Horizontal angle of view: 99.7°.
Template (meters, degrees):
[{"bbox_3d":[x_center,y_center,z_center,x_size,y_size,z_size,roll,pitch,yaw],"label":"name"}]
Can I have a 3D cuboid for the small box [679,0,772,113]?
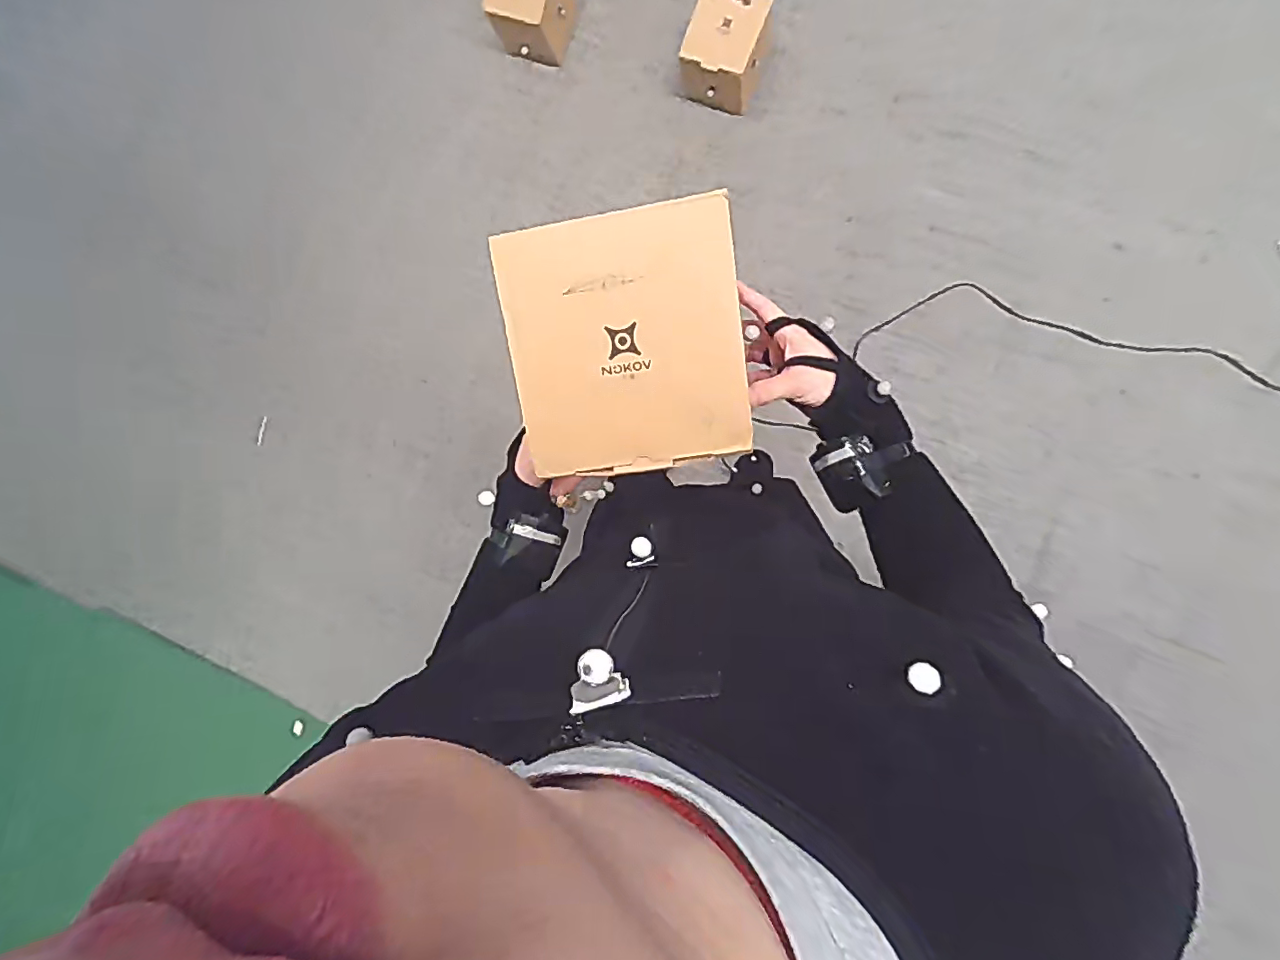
[{"bbox_3d":[0.215,-1.053,1.331,0.168,0.176,0.179,25,102,9],"label":"small box"}]

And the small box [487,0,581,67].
[{"bbox_3d":[-0.268,-1.238,1.413,0.168,0.176,0.179,22,102,9],"label":"small box"}]

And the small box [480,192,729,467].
[{"bbox_3d":[-0.014,-0.121,0.470,0.168,0.176,0.179,-7,102,8],"label":"small box"}]
